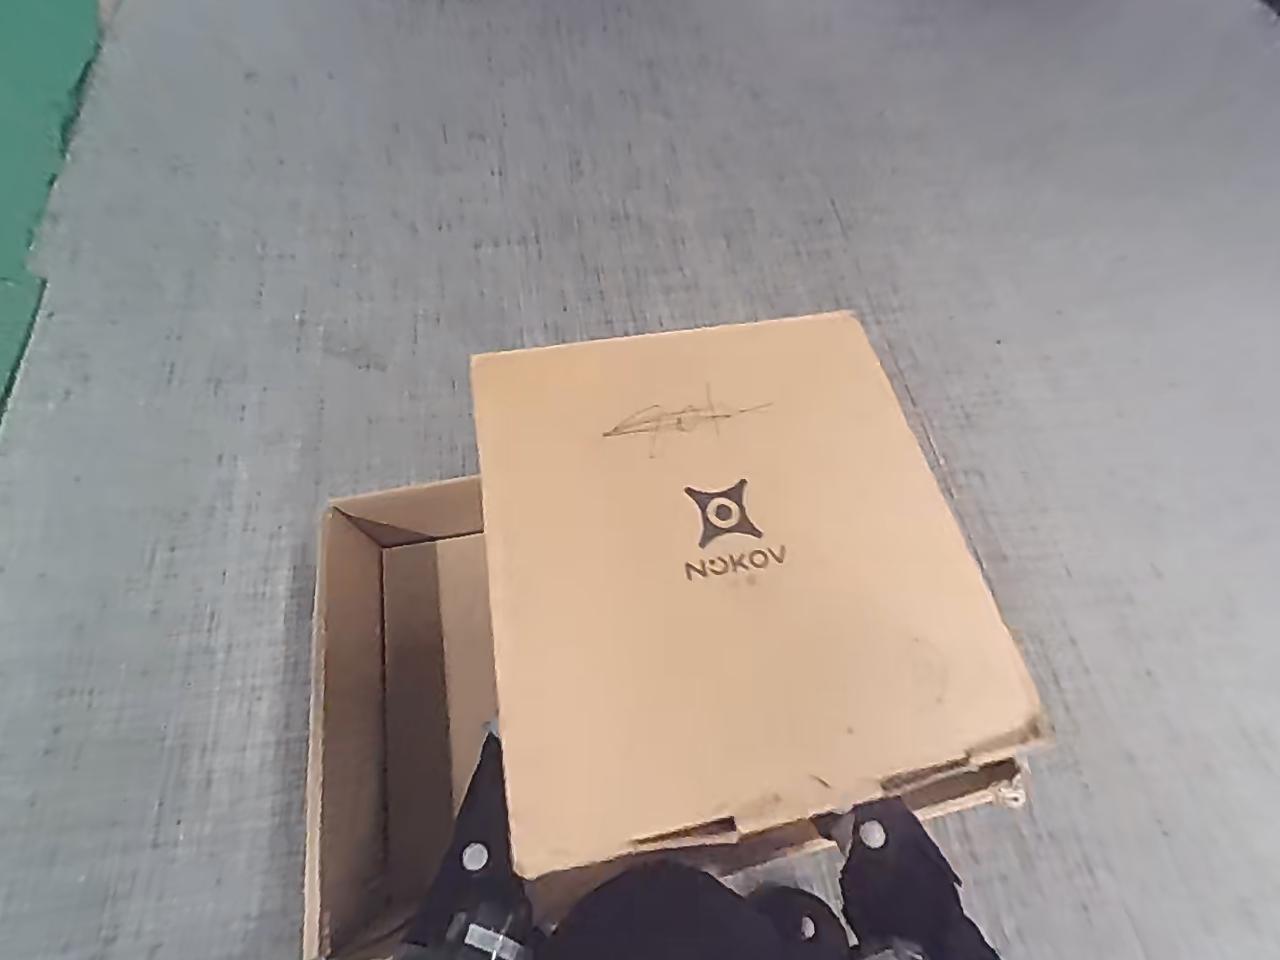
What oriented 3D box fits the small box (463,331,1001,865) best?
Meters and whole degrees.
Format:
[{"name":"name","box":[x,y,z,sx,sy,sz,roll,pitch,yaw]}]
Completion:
[{"name":"small box","box":[0.018,0.056,0.270,0.168,0.176,0.179,-9,64,-9]}]
